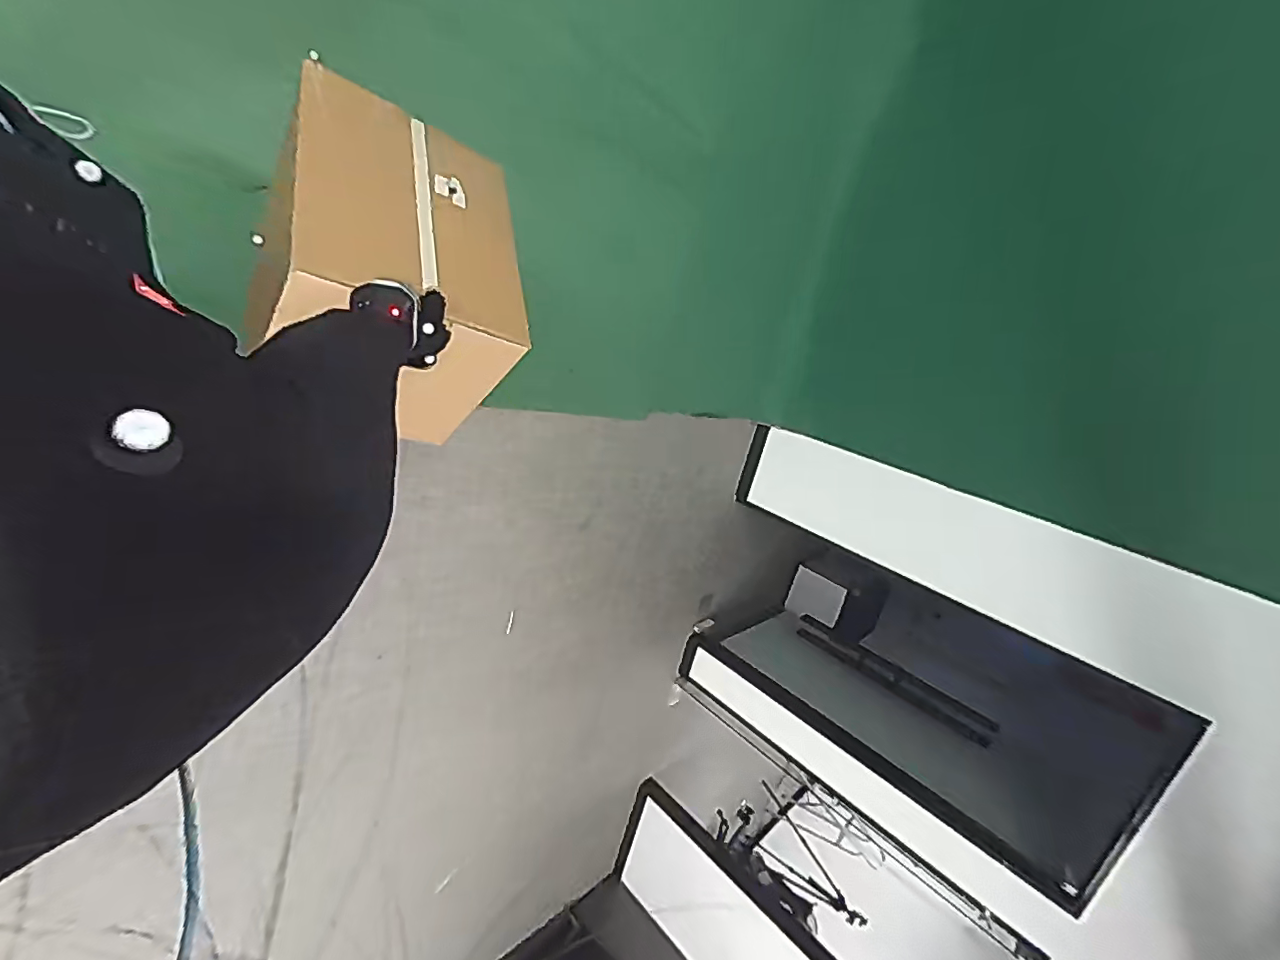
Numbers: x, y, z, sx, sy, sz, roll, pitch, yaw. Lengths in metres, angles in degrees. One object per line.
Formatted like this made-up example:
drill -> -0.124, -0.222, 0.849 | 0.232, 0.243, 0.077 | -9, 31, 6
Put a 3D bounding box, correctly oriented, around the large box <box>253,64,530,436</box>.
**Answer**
large box -> -0.416, -0.332, 0.883 | 0.320, 0.408, 0.320 | 10, 147, -43
